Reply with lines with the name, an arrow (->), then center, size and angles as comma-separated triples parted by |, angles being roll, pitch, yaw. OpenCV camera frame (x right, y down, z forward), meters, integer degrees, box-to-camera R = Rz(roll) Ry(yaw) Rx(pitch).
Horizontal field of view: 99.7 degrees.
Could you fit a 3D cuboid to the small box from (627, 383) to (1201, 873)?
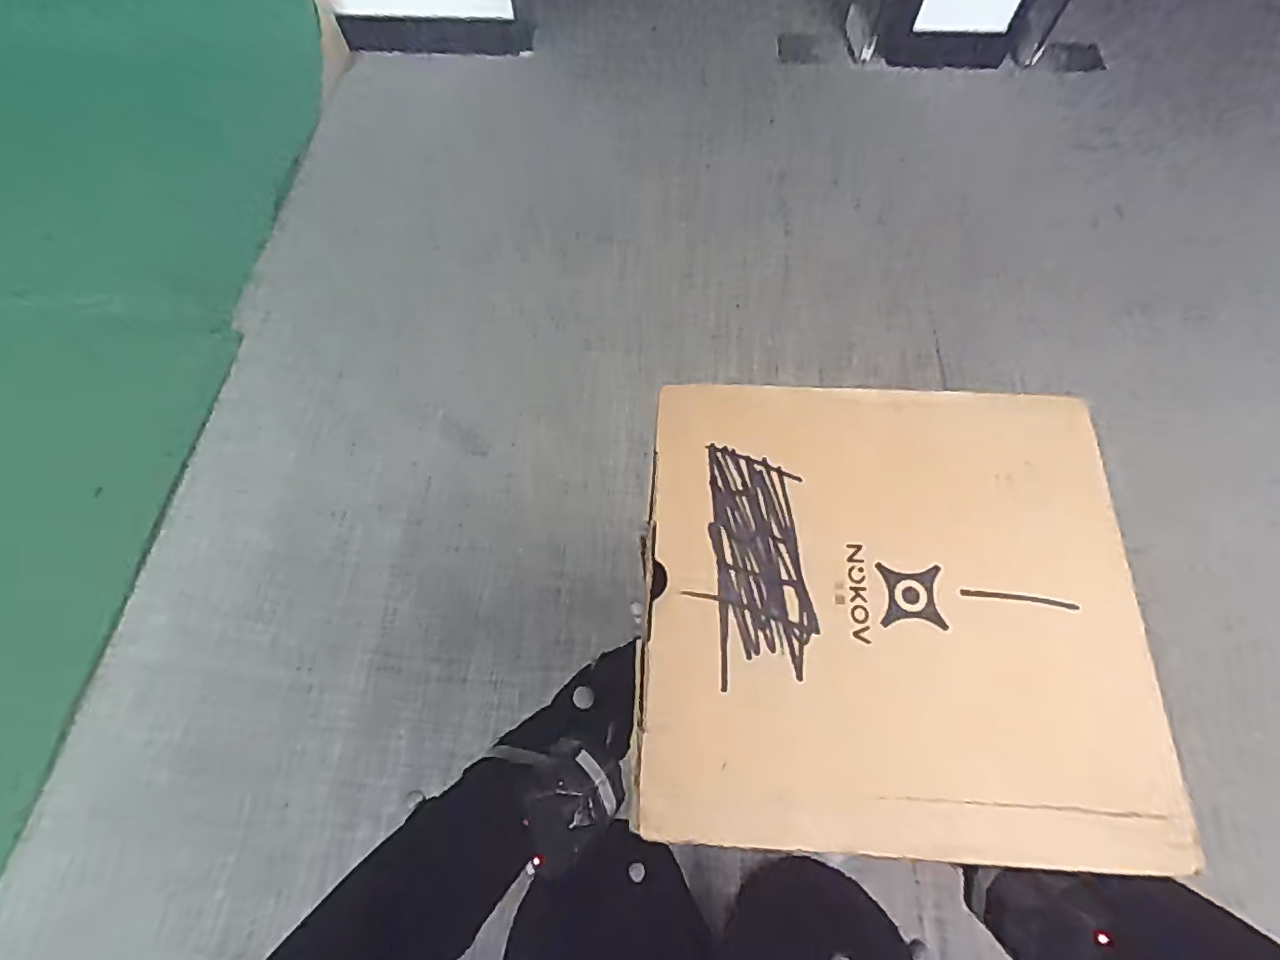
small box -> 0.091, 0.067, 0.270 | 0.179, 0.176, 0.168 | 2, 69, 3
